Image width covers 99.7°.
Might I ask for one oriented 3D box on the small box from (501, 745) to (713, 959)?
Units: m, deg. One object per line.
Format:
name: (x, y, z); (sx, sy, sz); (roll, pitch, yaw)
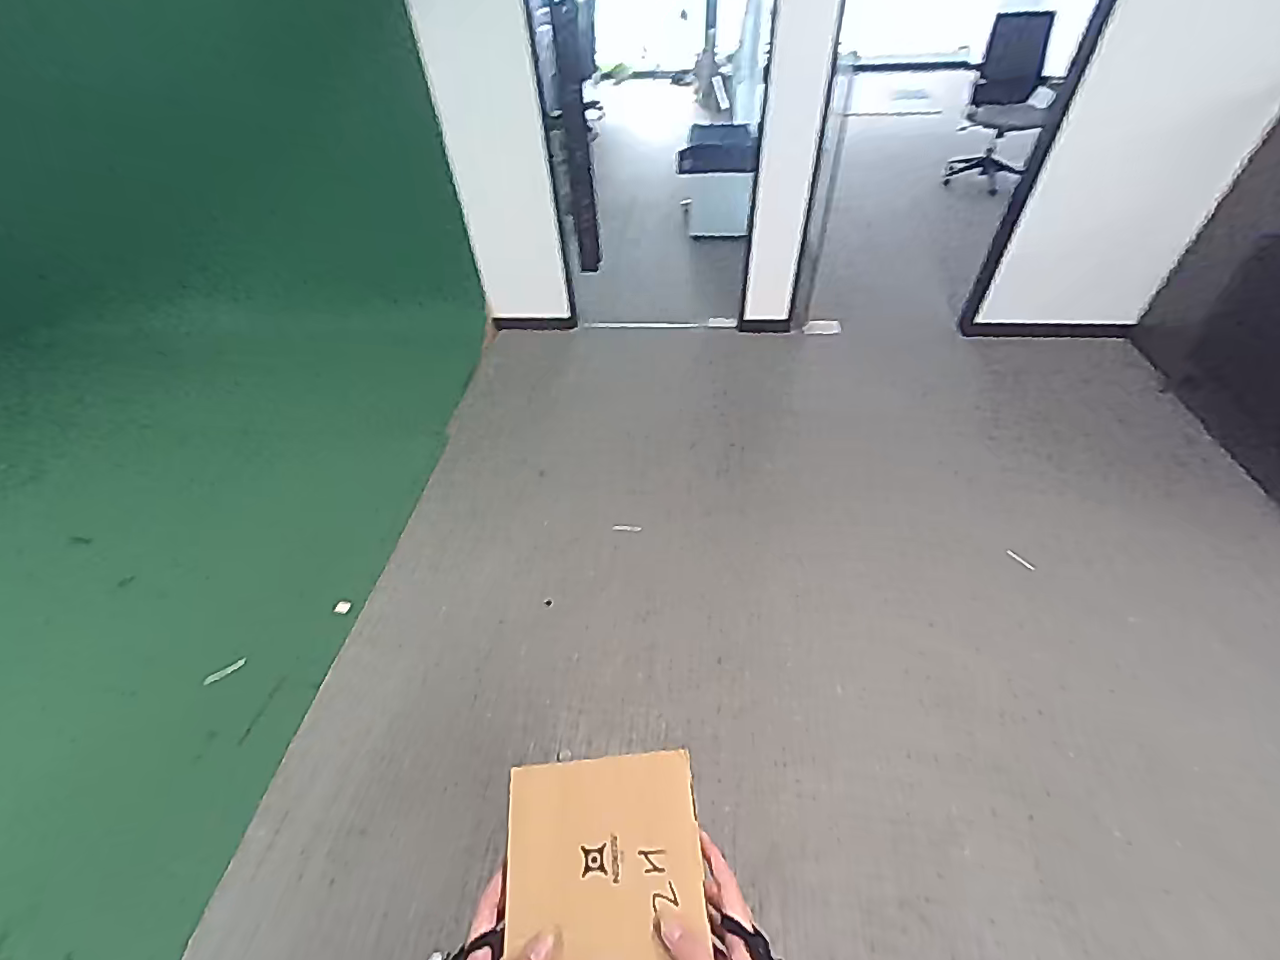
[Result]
small box: (-0.027, 0.376, 0.543); (0.179, 0.176, 0.168); (-5, 56, 0)
